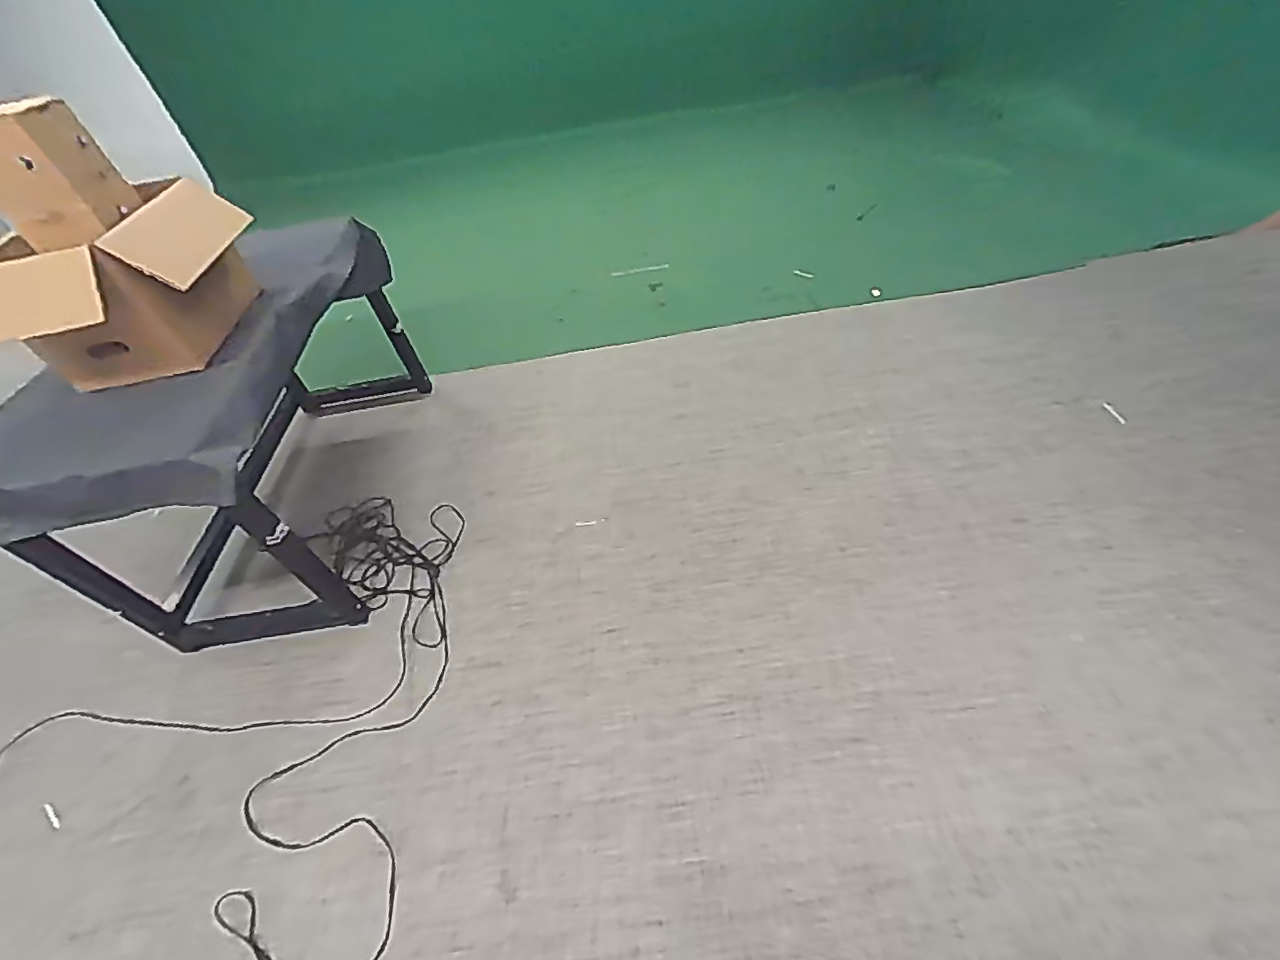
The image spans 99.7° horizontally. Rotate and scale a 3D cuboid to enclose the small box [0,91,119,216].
[{"bbox_3d":[-1.254,-0.671,1.115,0.179,0.176,0.168,-13,46,-1],"label":"small box"}]
